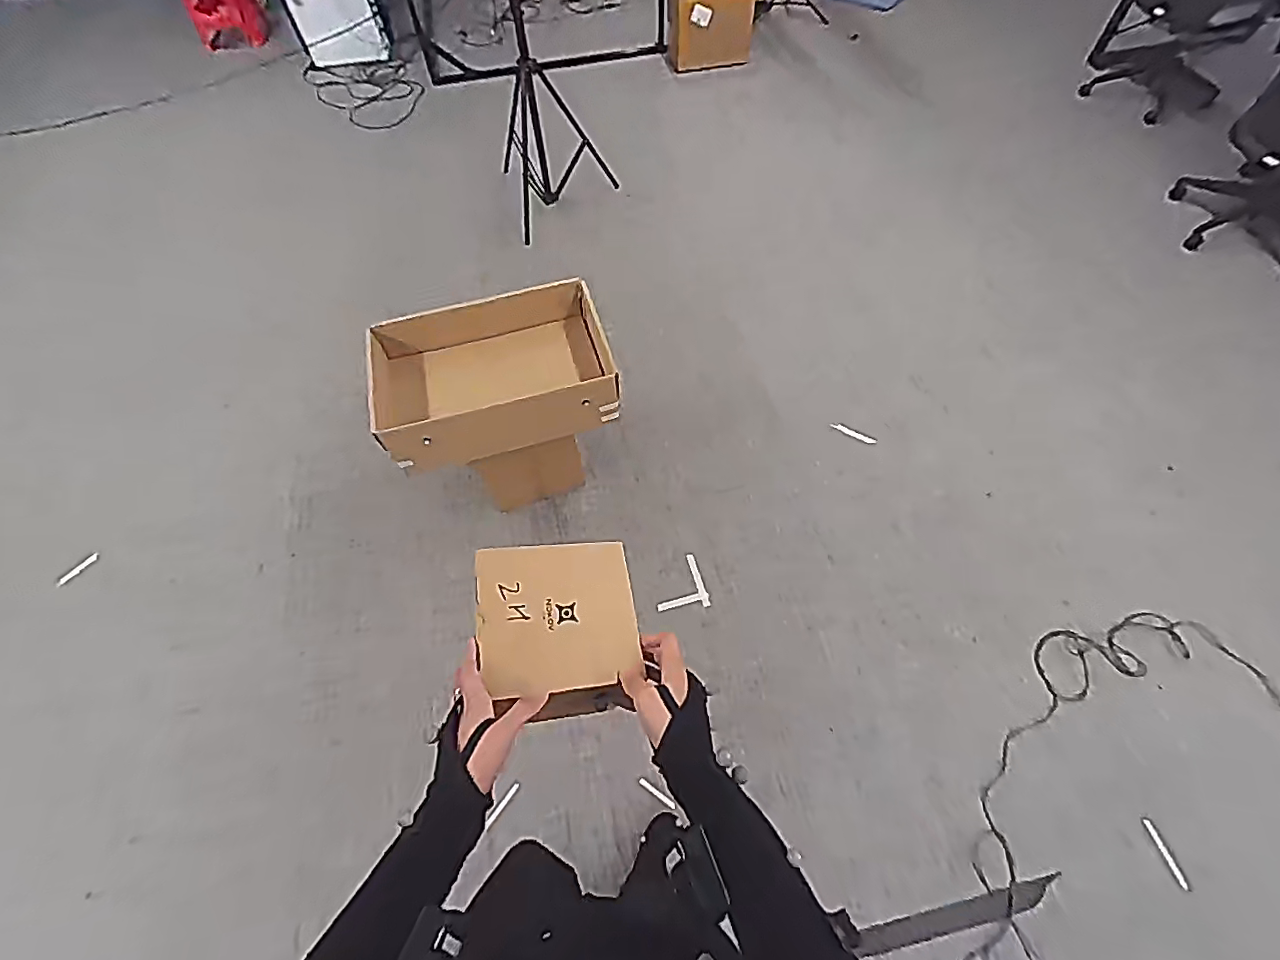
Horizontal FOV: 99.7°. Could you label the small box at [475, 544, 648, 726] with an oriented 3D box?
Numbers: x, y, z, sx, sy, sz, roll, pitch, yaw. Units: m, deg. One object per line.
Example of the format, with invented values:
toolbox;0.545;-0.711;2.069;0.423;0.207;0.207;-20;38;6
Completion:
small box;-0.106;0.189;0.655;0.179;0.176;0.168;-1;58;-18
